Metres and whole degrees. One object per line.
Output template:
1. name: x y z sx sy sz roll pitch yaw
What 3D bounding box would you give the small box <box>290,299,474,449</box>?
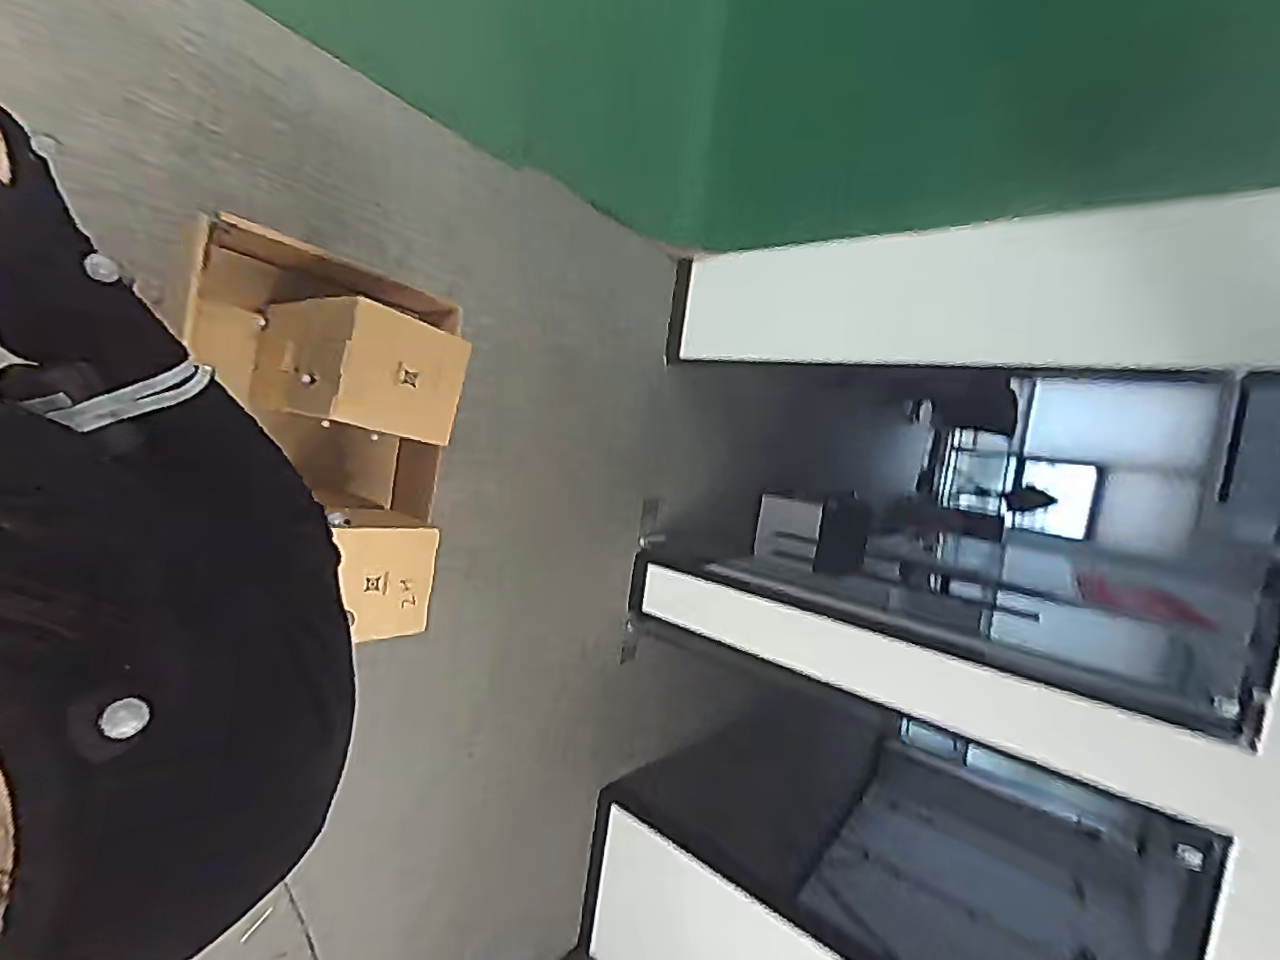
1. small box: -0.385 -0.153 0.805 0.179 0.176 0.168 16 88 -53

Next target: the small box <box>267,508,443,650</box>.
1. small box: -0.432 0.139 0.817 0.179 0.176 0.168 8 93 -52
